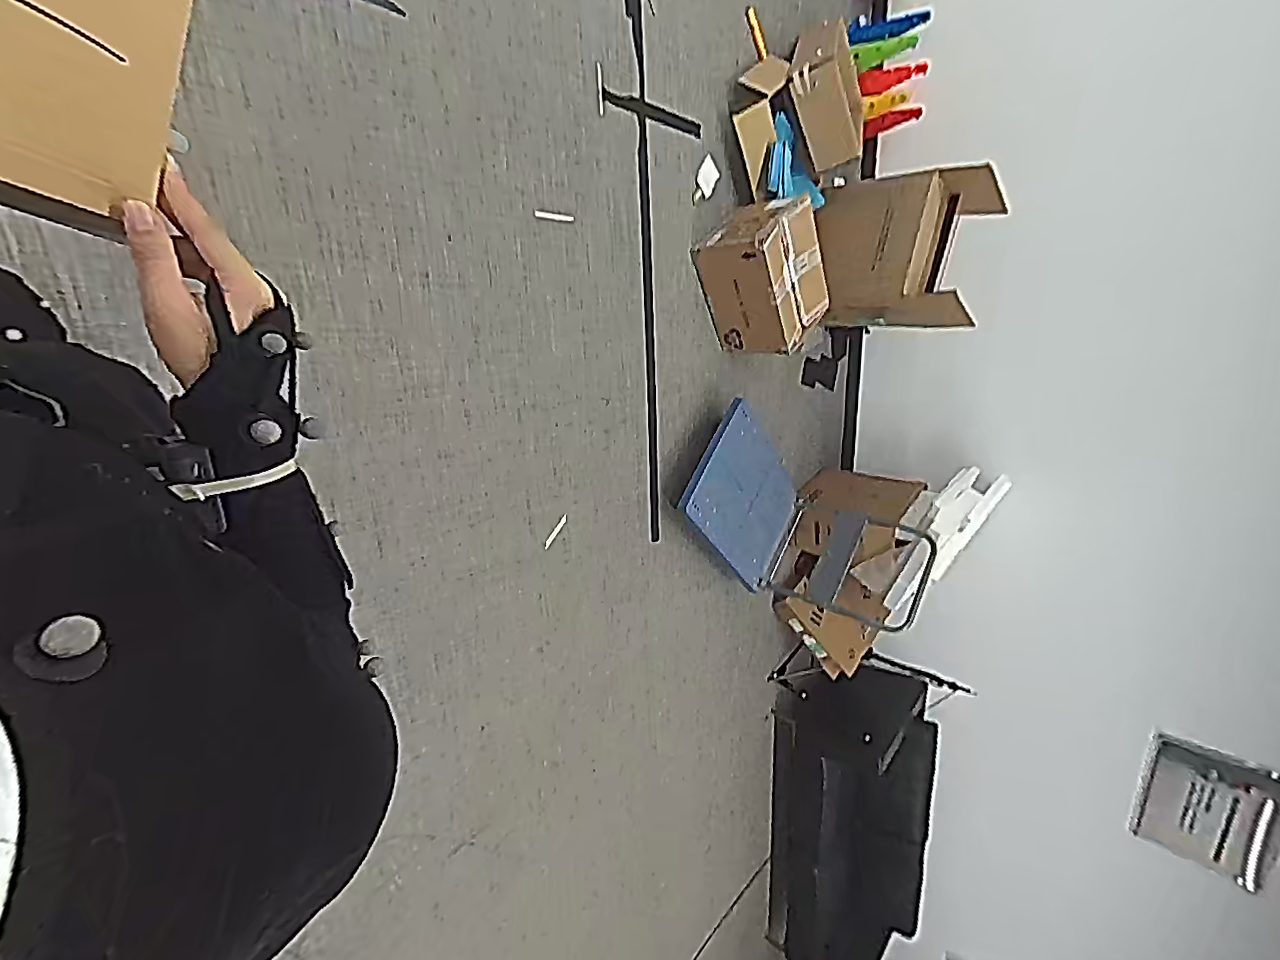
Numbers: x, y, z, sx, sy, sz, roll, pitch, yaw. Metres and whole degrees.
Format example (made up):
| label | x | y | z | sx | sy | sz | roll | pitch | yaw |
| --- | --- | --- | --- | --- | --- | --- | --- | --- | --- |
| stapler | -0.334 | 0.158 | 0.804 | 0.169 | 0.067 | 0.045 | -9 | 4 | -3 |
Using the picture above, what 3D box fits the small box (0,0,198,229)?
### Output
| label | x | y | z | sx | sy | sz | roll | pitch | yaw |
| --- | --- | --- | --- | --- | --- | --- | --- | --- | --- |
| small box | -0.364 | -0.248 | 0.284 | 0.179 | 0.176 | 0.168 | 10 | 97 | -49 |
